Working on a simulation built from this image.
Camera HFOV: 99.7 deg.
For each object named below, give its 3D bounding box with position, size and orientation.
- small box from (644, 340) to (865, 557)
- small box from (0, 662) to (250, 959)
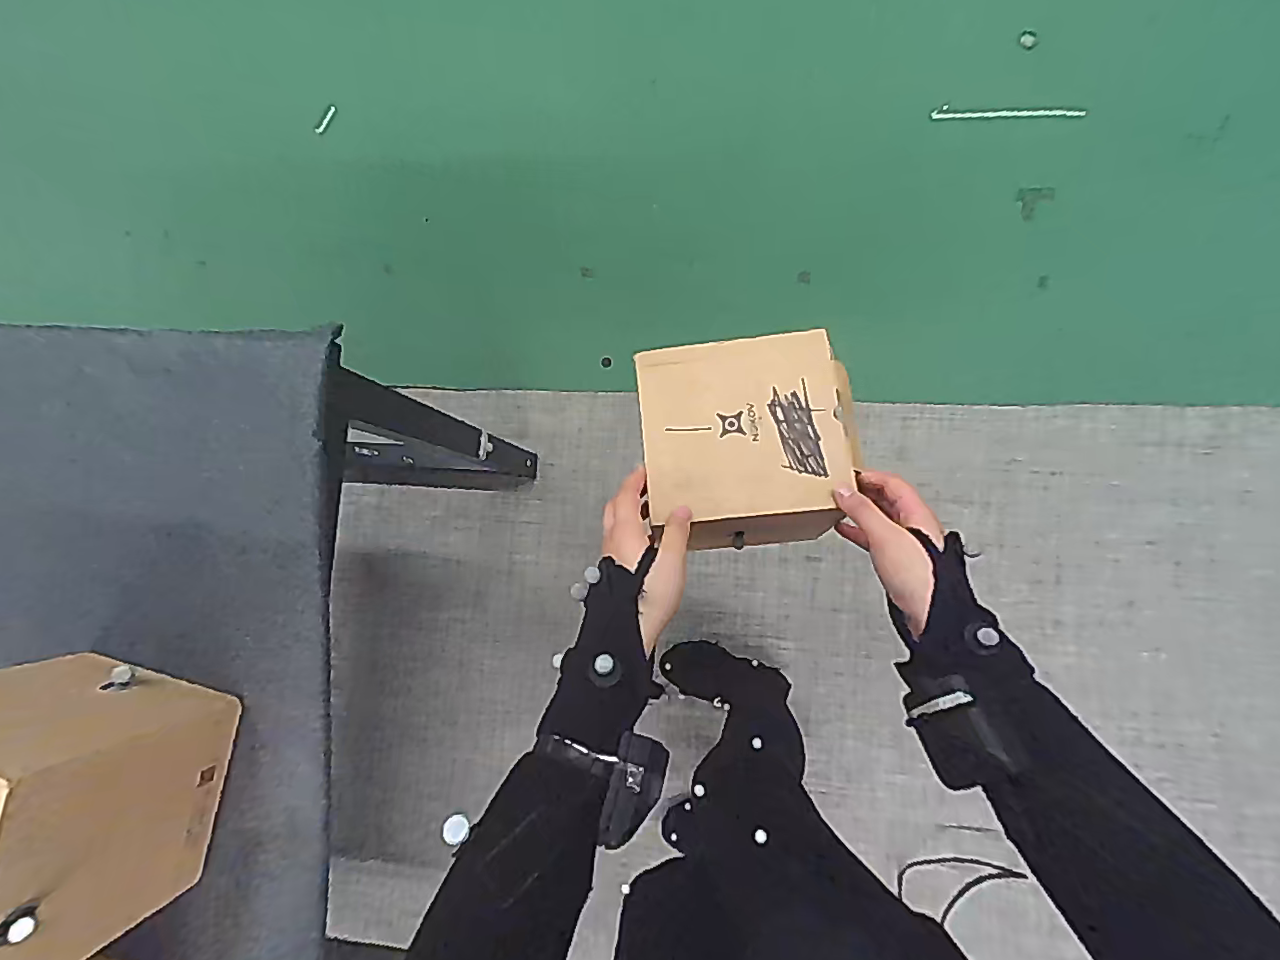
[{"bbox_3d":[0.101,-0.019,0.543,0.179,0.176,0.168,-6,74,5],"label":"small box"},{"bbox_3d":[-0.459,0.253,0.416,0.179,0.176,0.168,11,86,10],"label":"small box"}]
